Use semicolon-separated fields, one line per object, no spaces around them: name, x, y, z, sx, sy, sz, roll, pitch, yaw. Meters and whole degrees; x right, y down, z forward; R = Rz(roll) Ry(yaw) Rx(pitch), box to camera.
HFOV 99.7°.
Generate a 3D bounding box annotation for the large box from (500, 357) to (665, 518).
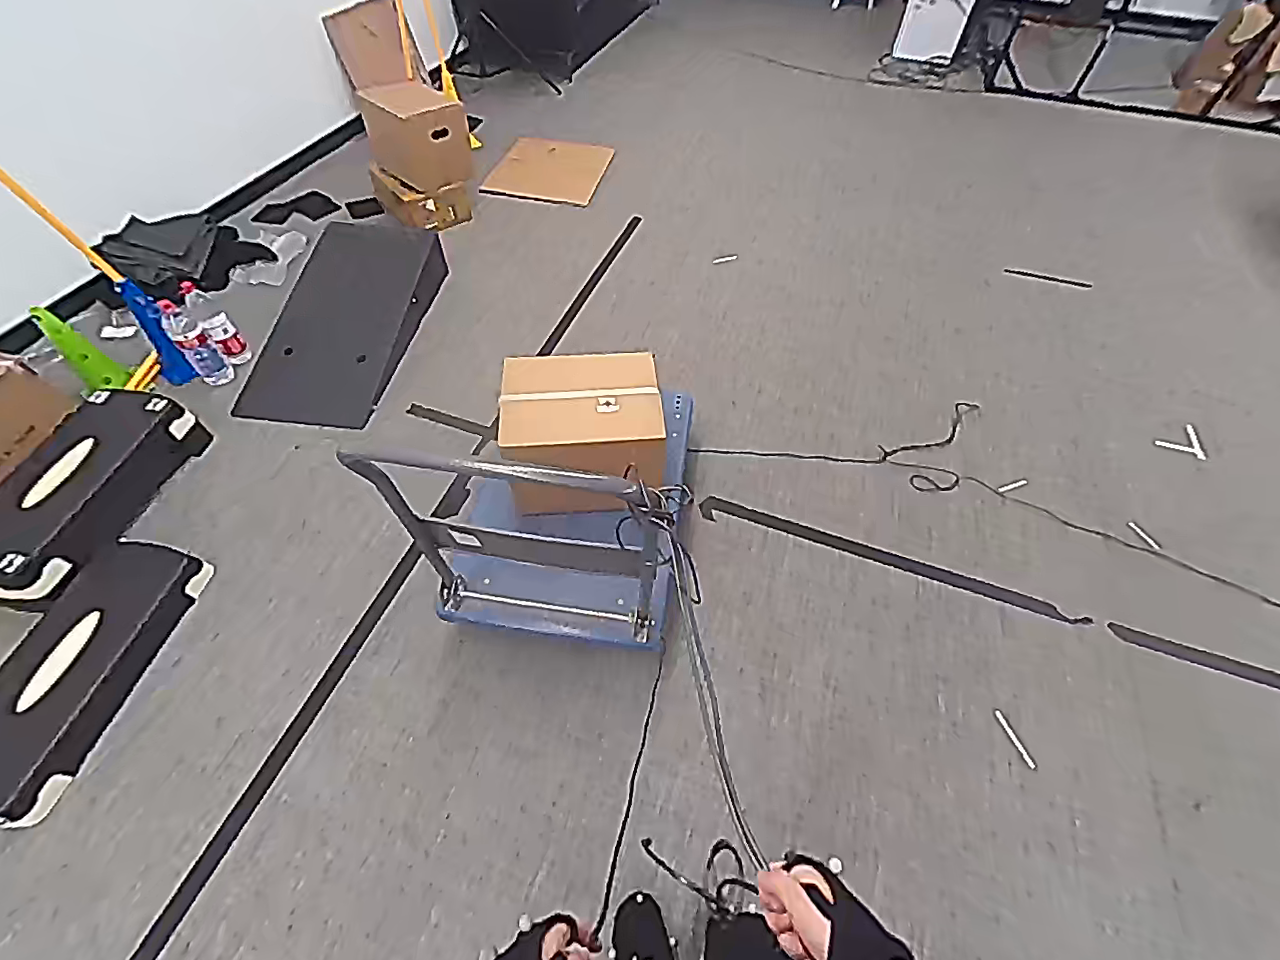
large box;-0.159;-0.114;1.494;0.408;0.320;0.320;-4;55;-5
